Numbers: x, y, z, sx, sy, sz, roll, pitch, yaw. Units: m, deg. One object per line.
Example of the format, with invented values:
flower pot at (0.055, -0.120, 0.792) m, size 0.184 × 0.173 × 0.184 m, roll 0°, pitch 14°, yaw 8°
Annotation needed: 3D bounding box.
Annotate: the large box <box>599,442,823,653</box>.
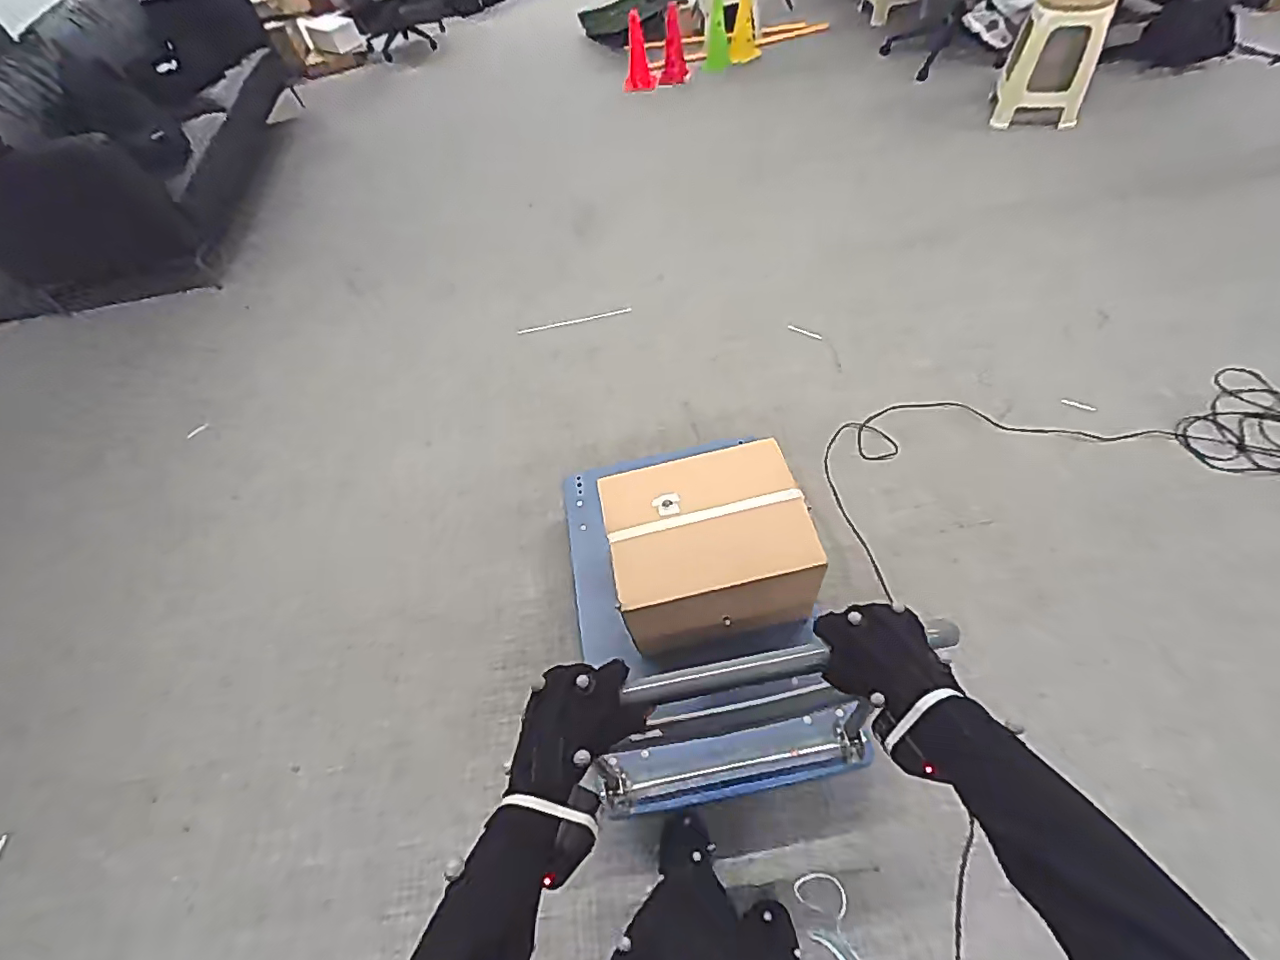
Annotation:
large box at (0.154, 0.166, 1.236) m, size 0.408 × 0.320 × 0.320 m, roll -14°, pitch 55°, yaw 1°
